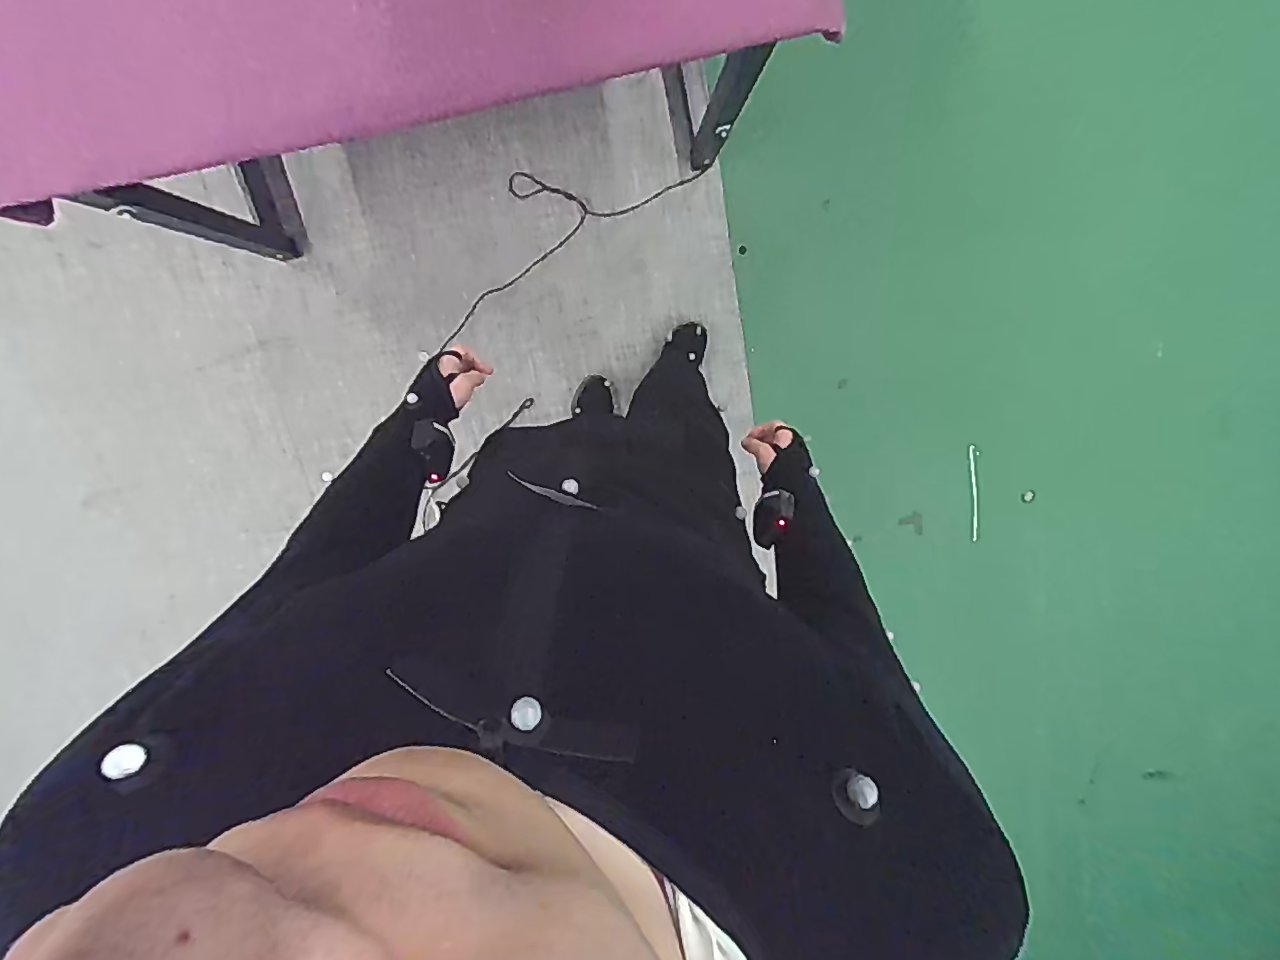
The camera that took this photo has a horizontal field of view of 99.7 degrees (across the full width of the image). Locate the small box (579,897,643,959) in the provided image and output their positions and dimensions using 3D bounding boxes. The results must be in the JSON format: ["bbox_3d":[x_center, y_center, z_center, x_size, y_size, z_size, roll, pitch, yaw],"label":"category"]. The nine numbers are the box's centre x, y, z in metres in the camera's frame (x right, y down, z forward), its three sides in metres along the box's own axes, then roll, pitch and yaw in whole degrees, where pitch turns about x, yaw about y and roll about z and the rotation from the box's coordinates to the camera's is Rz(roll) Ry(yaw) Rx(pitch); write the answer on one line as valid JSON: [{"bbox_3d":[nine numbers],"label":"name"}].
[{"bbox_3d":[-0.090,1.457,1.698,0.168,0.176,0.179,-14,104,0],"label":"small box"}]

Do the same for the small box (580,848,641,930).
[{"bbox_3d":[-0.099,1.420,1.857,0.168,0.176,0.179,-18,103,1],"label":"small box"}]
